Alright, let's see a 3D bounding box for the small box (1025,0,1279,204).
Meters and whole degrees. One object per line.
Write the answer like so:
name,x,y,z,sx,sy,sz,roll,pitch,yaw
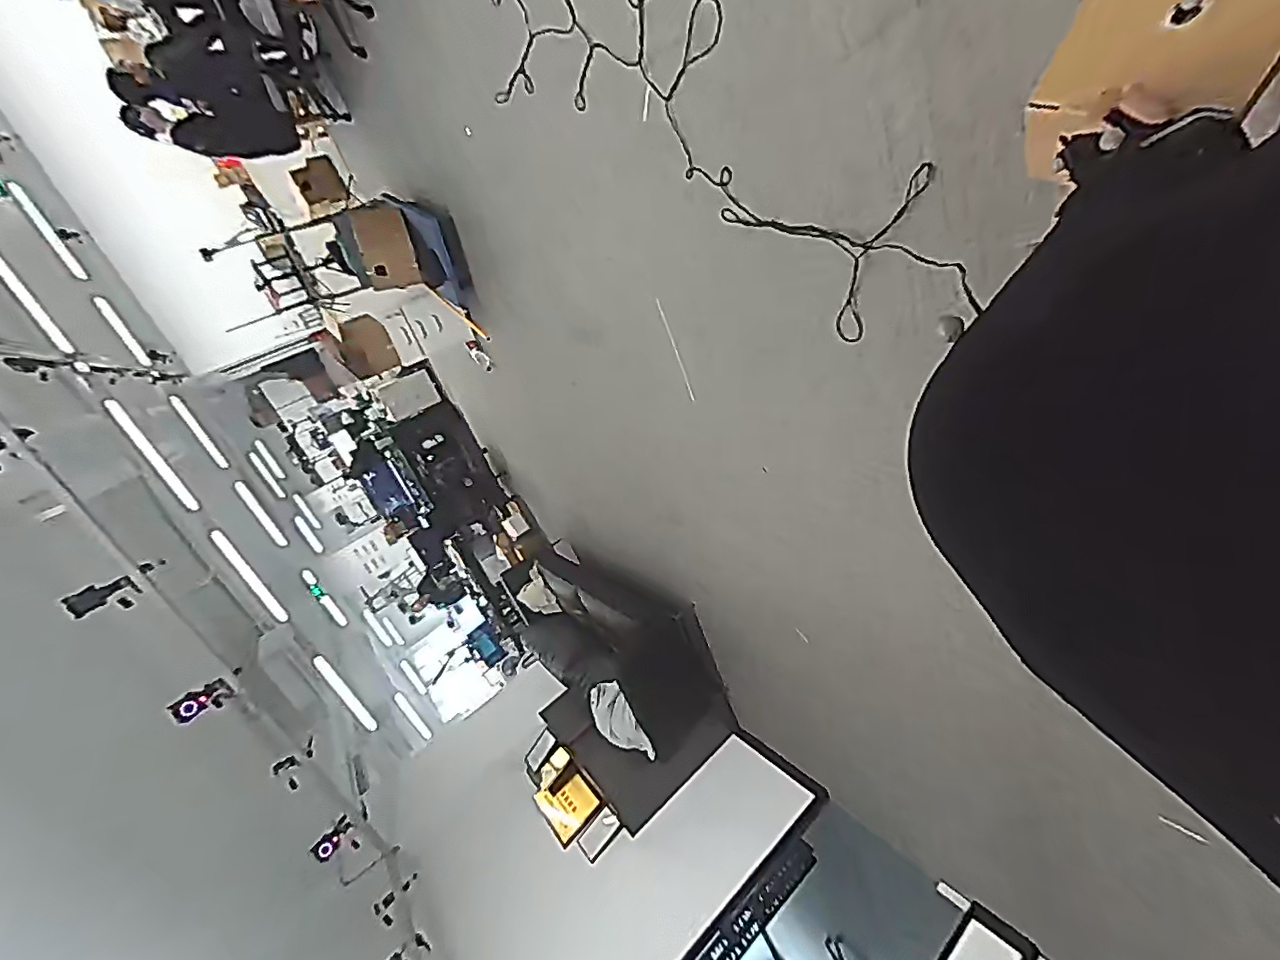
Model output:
small box,0.531,-0.418,0.552,0.168,0.179,0.176,34,110,30
